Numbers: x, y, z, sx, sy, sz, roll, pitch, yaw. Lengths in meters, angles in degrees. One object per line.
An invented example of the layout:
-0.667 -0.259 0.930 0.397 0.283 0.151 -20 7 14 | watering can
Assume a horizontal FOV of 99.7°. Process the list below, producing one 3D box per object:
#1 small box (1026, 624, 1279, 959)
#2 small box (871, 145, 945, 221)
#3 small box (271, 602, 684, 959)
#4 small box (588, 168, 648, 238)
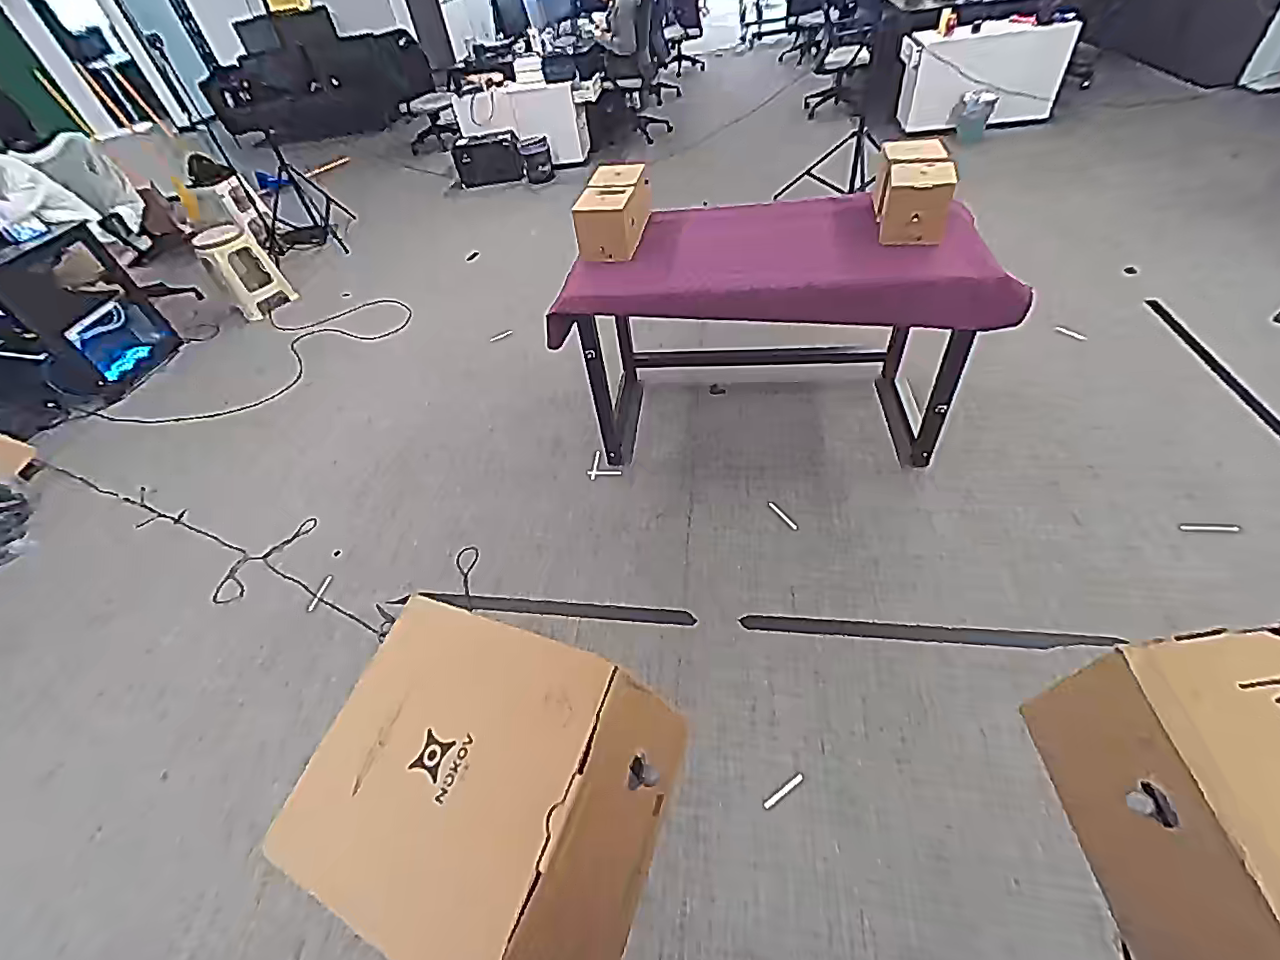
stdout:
0.372 0.195 0.315 0.168 0.176 0.179 -12 55 8 | small box
0.836 -0.935 1.704 0.168 0.176 0.179 4 47 12 | small box
-0.086 0.209 0.373 0.179 0.176 0.168 7 58 28 | small box
-0.069 -0.953 1.862 0.168 0.176 0.179 4 49 13 | small box
